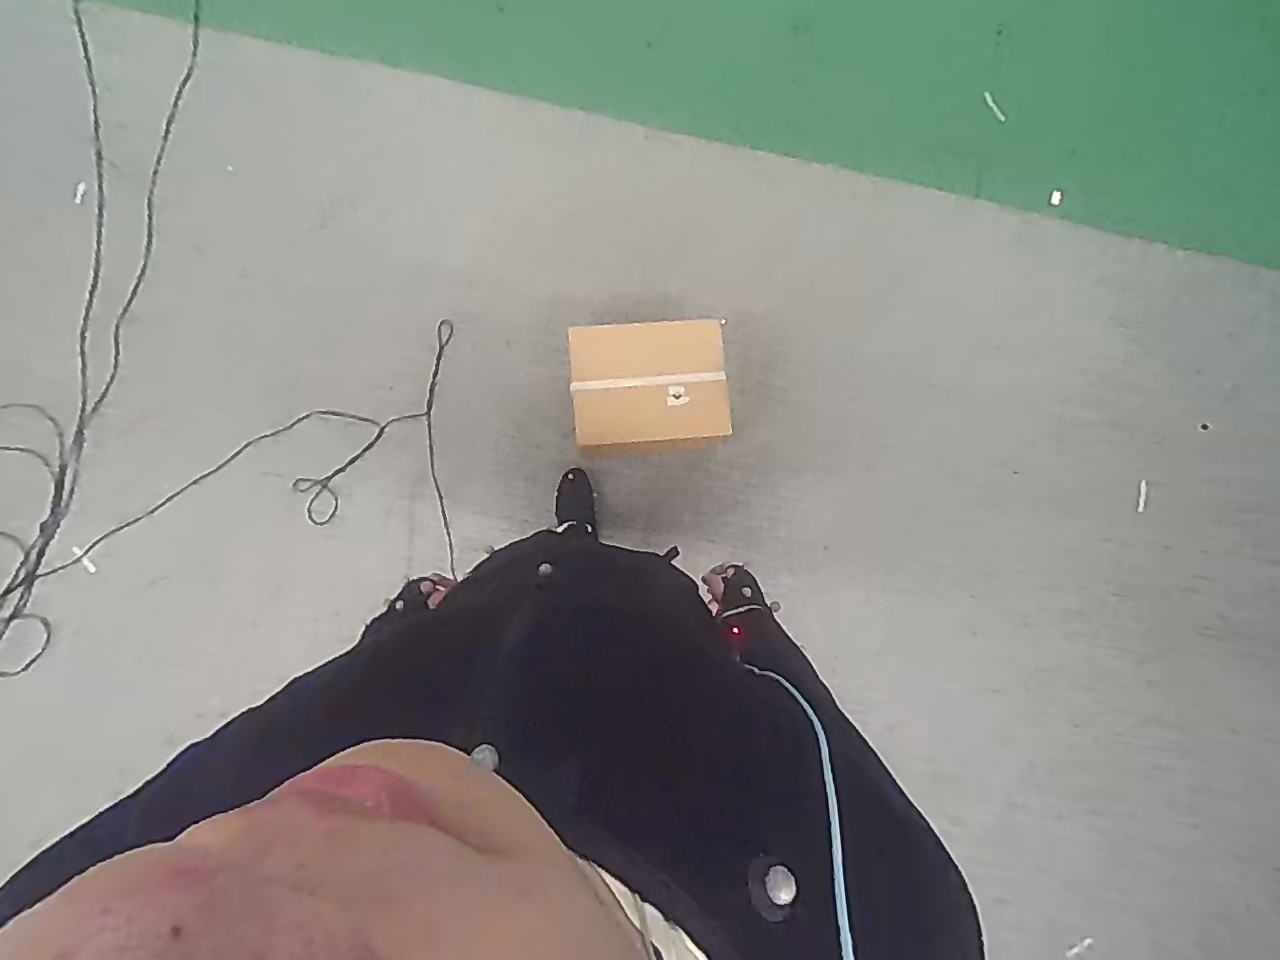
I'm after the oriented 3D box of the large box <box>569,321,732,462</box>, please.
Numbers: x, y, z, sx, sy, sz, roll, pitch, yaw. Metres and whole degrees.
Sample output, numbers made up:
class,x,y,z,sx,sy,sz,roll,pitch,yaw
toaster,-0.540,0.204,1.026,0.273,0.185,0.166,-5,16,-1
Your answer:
class,x,y,z,sx,sy,sz,roll,pitch,yaw
large box,0.017,-0.237,1.541,0.408,0.320,0.320,-4,85,-5
